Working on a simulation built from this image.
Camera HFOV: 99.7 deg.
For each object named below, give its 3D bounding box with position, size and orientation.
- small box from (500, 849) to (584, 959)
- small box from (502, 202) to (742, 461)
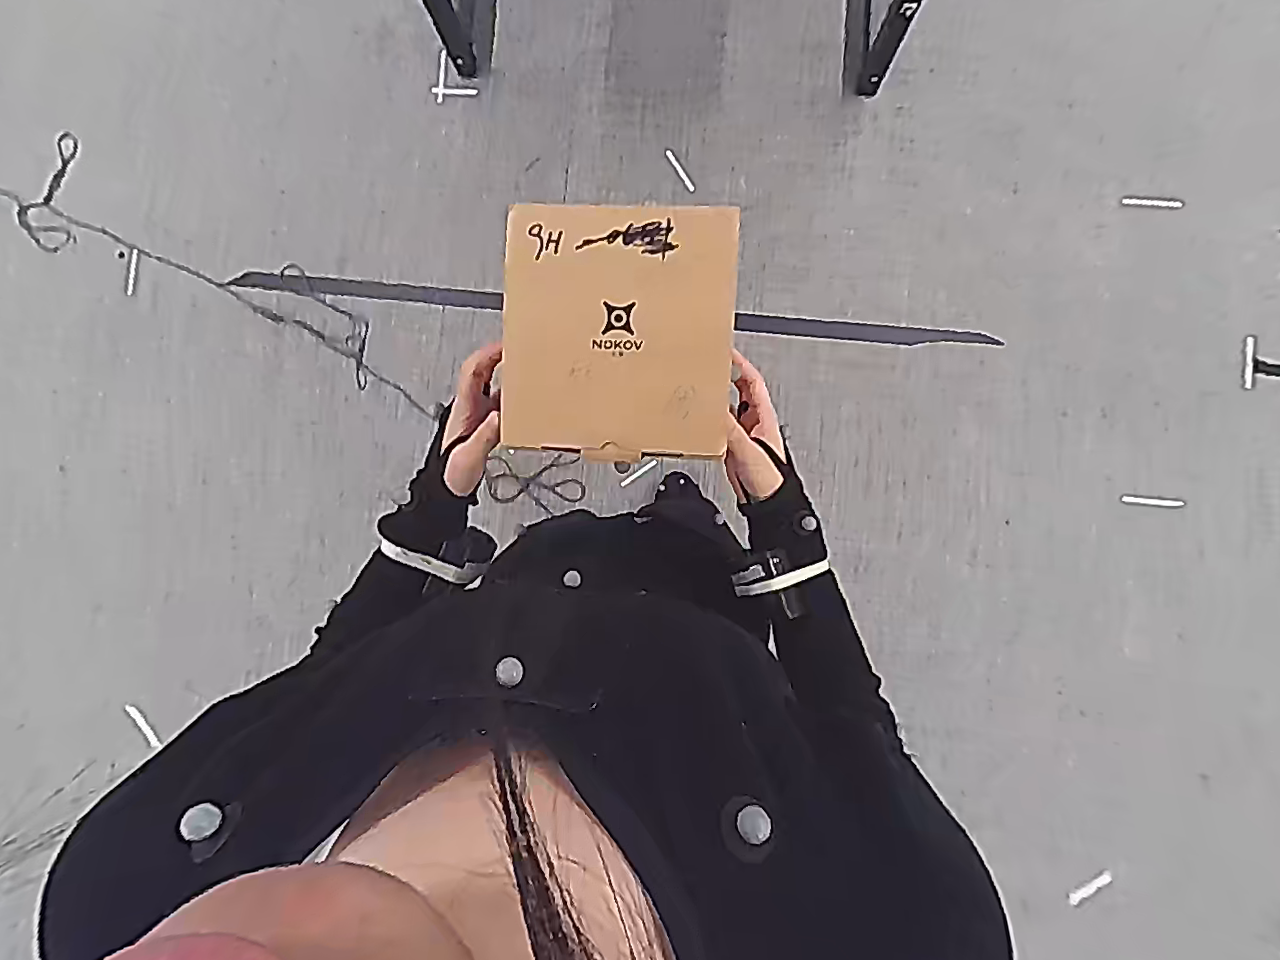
[{"bbox_3d":[-0.244,1.096,1.384,0.168,0.176,0.179,8,88,2],"label":"small box"},{"bbox_3d":[-0.009,-0.111,0.460,0.168,0.176,0.179,3,94,3],"label":"small box"}]
